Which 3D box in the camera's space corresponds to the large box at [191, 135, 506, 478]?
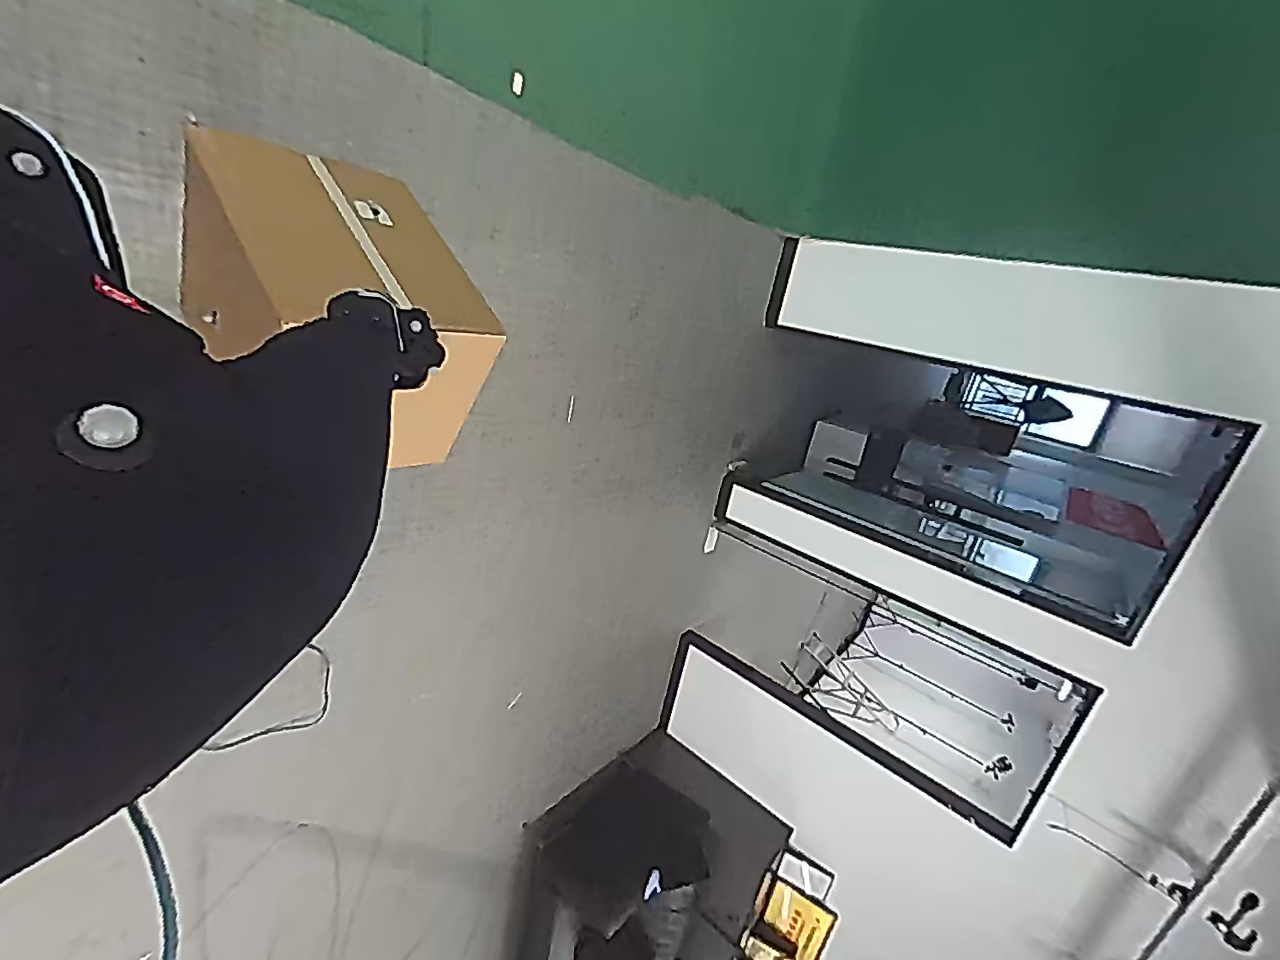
[{"bbox_3d":[-0.494,-0.266,0.894,0.320,0.408,0.320,-13,150,-48],"label":"large box"}]
